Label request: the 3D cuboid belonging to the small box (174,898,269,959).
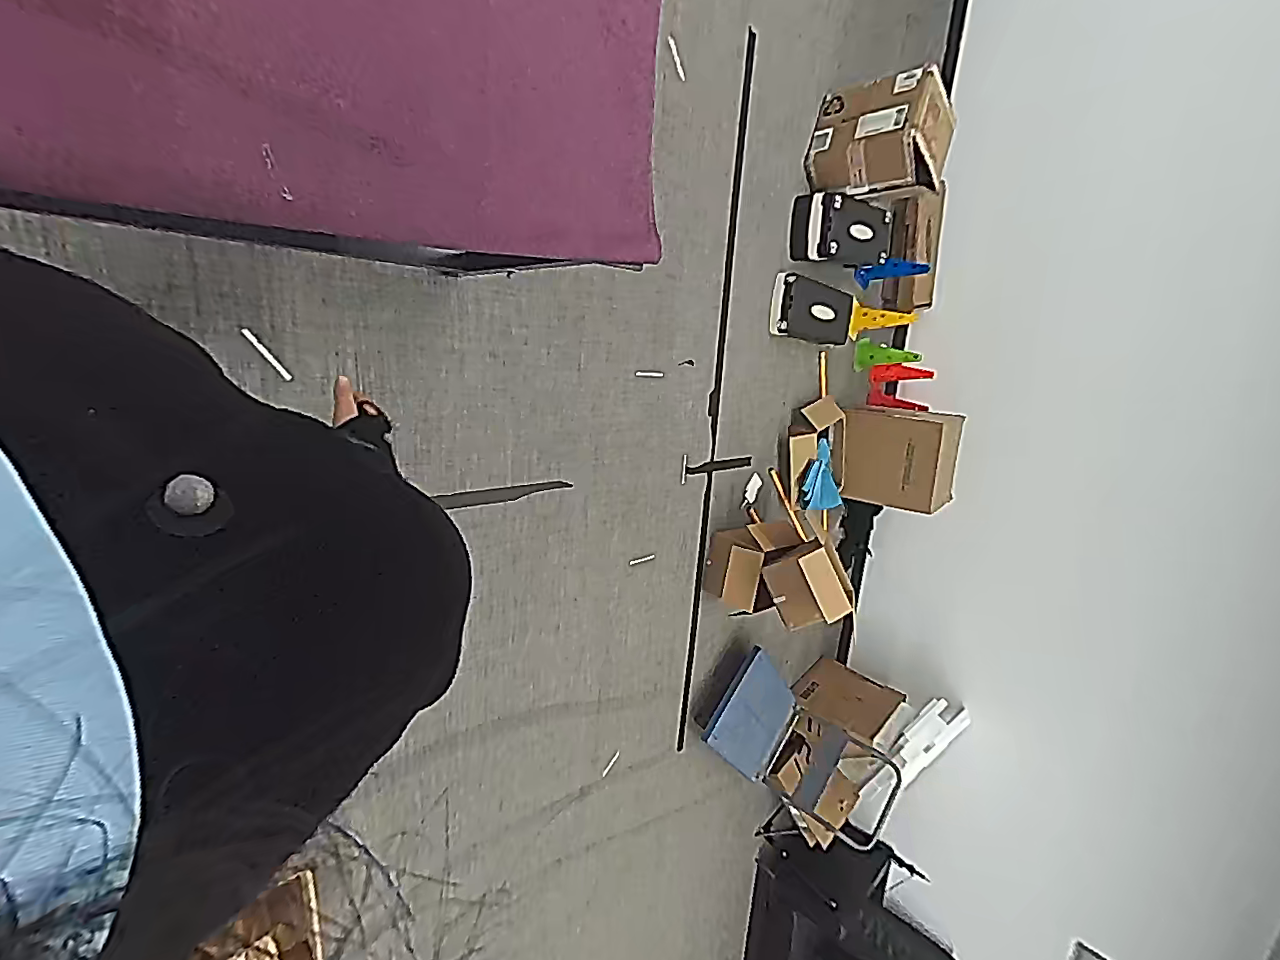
[{"bbox_3d":[-1.051,1.211,1.363,0.168,0.176,0.179,-12,111,-42],"label":"small box"}]
